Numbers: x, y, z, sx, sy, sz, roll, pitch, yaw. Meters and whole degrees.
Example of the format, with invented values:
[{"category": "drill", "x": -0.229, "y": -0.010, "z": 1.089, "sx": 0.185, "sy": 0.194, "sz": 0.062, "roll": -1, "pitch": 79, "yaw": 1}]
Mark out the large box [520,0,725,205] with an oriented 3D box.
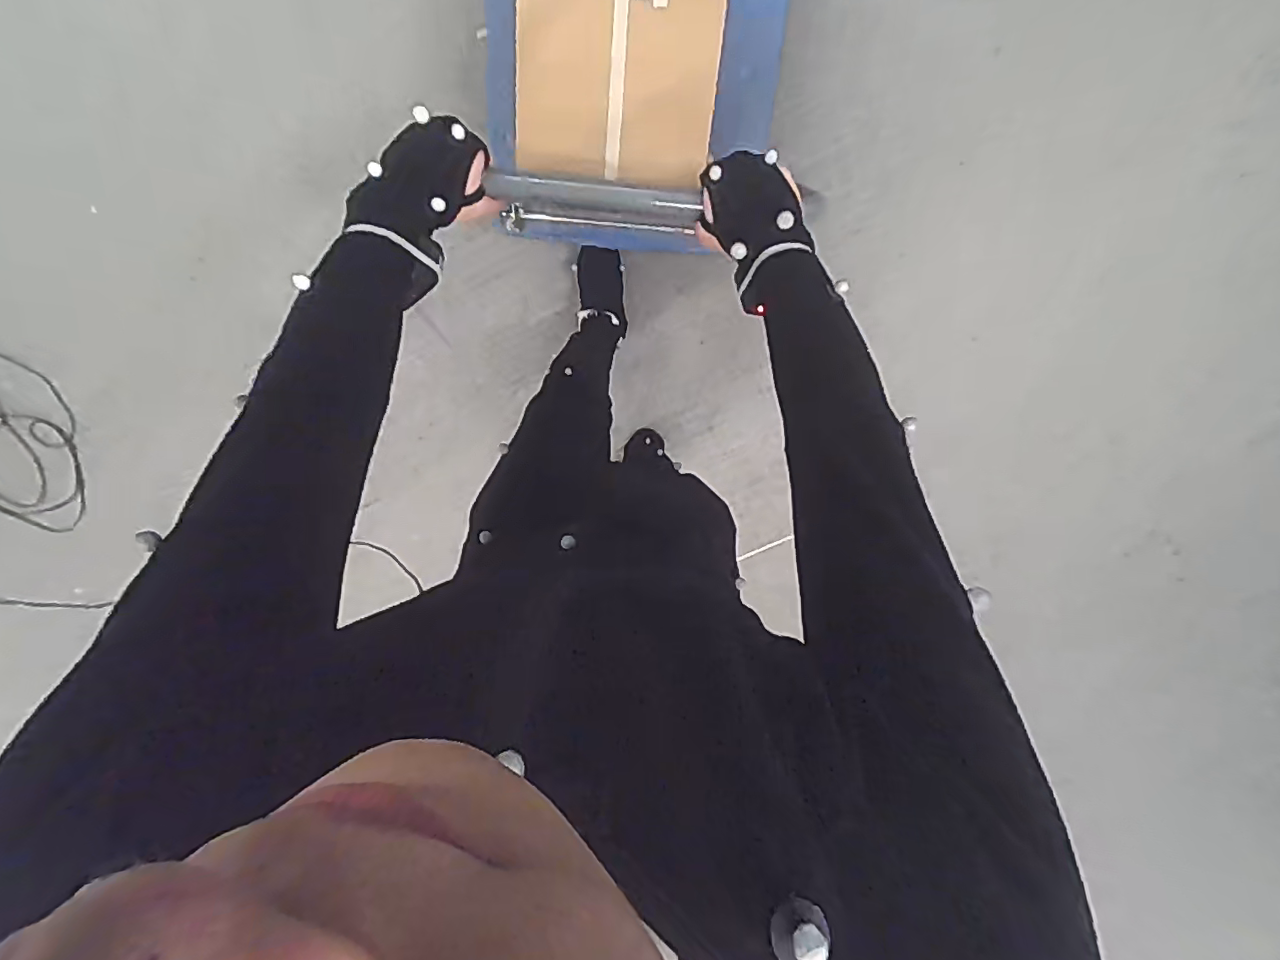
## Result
[{"category": "large box", "x": -0.026, "y": -0.739, "z": 0.974, "sx": 0.320, "sy": 0.320, "sz": 0.408, "roll": 6, "pitch": 113, "yaw": -2}]
